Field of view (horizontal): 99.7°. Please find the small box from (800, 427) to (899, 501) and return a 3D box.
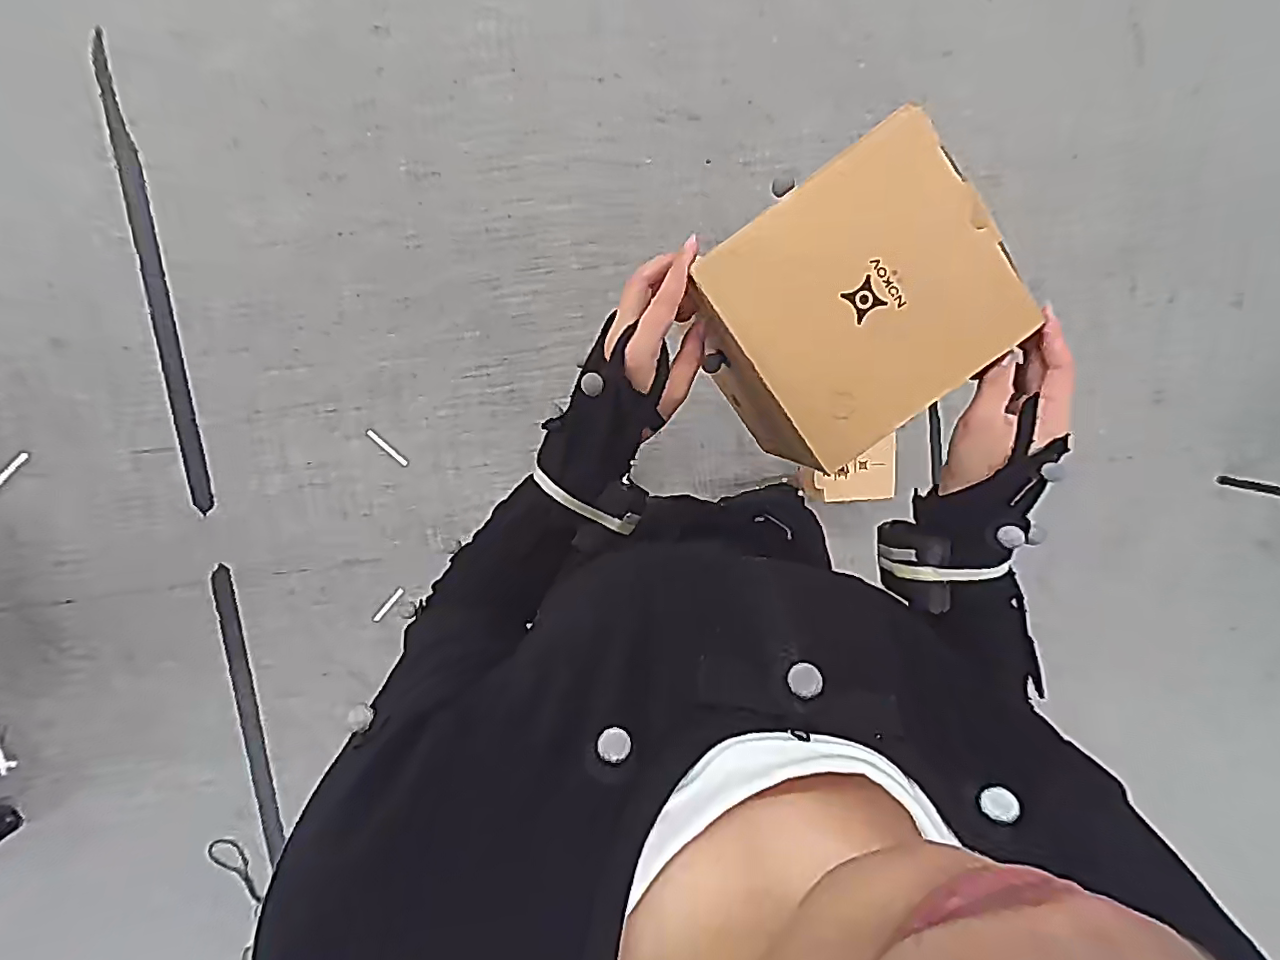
[{"bbox_3d":[0.503,-0.044,1.322,0.179,0.176,0.168,-2,98,-5],"label":"small box"}]
